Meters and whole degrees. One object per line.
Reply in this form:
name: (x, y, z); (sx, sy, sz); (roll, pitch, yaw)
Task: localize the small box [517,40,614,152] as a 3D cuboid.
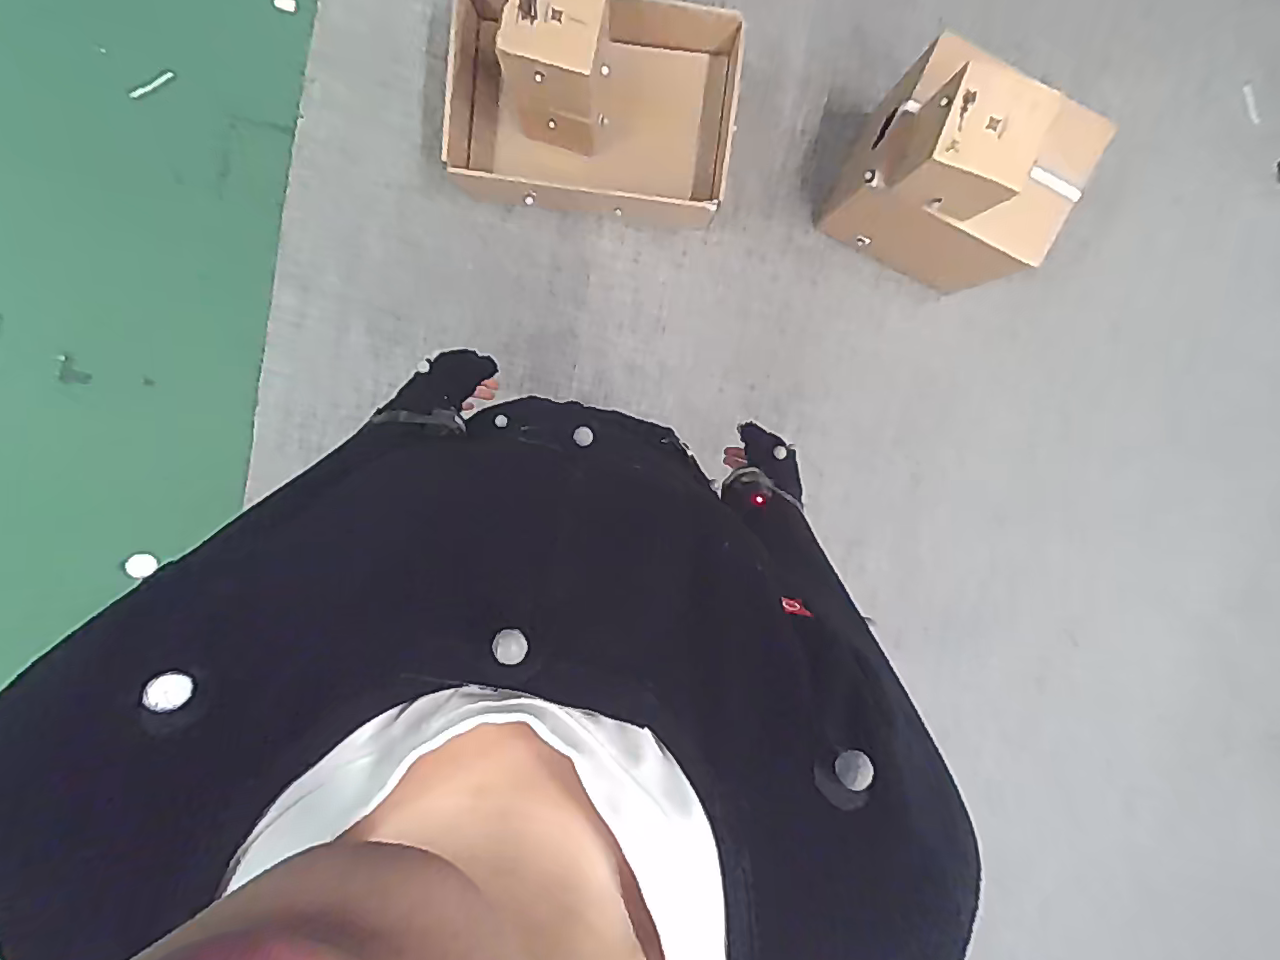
small box: (-0.161, -0.870, 1.209); (0.179, 0.176, 0.168); (13, 98, -6)

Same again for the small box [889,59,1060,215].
small box: (0.604, -0.616, 1.001); (0.179, 0.176, 0.168); (18, 99, -5)

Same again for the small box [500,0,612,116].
small box: (-0.155, -0.847, 1.046); (0.179, 0.176, 0.168); (12, 98, -6)
